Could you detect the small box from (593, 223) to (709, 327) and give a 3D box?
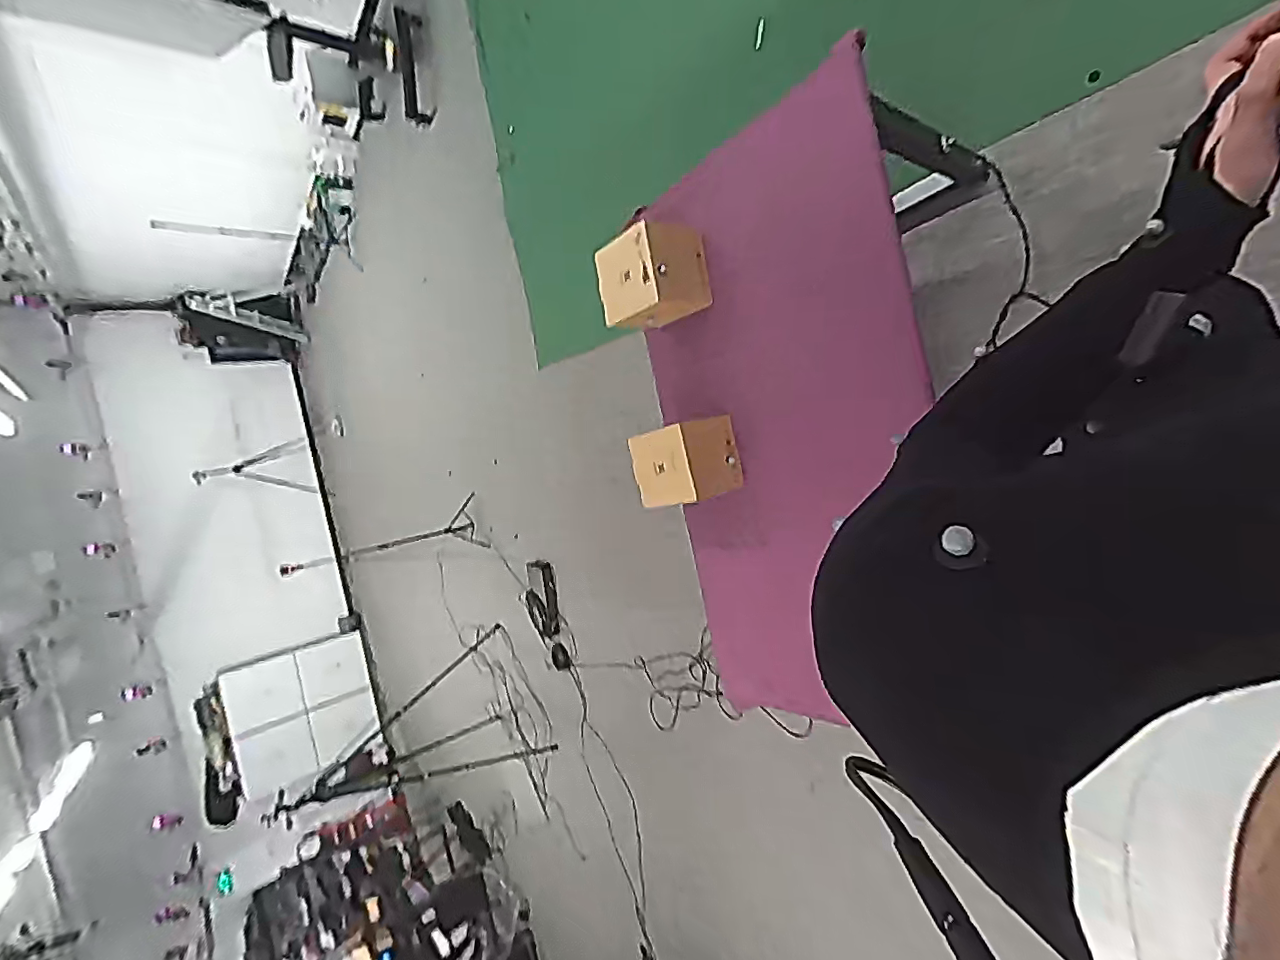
[{"bbox_3d":[0.024,-0.440,1.192,0.179,0.176,0.168,-7,96,51],"label":"small box"}]

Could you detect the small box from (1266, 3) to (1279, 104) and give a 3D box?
[{"bbox_3d":[0.503,-0.343,0.311,0.168,0.176,0.179,12,114,44],"label":"small box"}]

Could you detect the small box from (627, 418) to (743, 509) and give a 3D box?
[{"bbox_3d":[0.101,-0.036,1.216,0.179,0.176,0.168,-12,92,50],"label":"small box"}]
